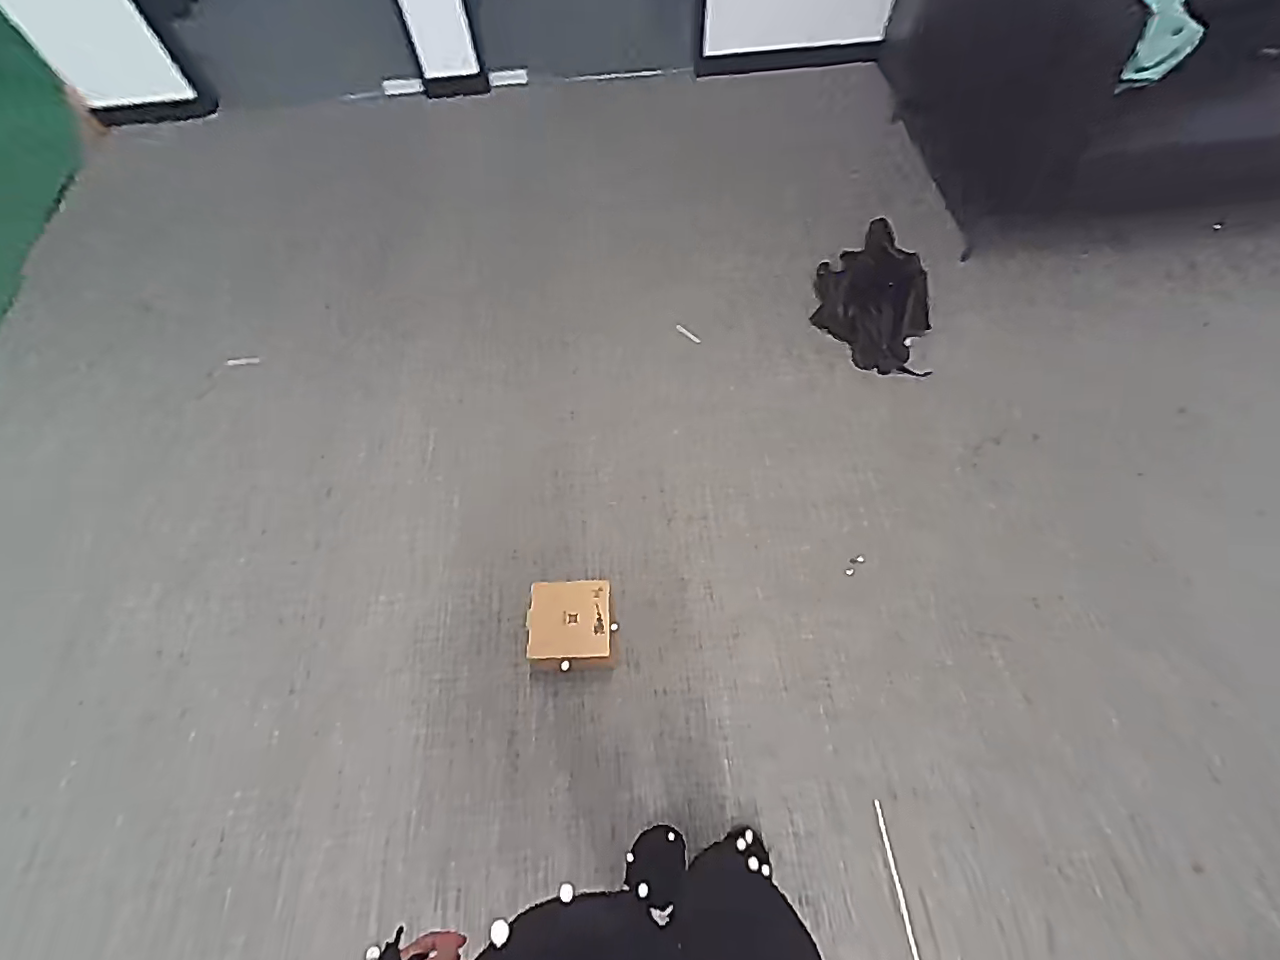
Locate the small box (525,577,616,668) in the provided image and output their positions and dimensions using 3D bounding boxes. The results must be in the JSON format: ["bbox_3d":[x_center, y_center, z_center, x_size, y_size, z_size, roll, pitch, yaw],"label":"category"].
[{"bbox_3d":[-0.150,0.327,1.224,0.179,0.176,0.168,-3,63,1],"label":"small box"}]
